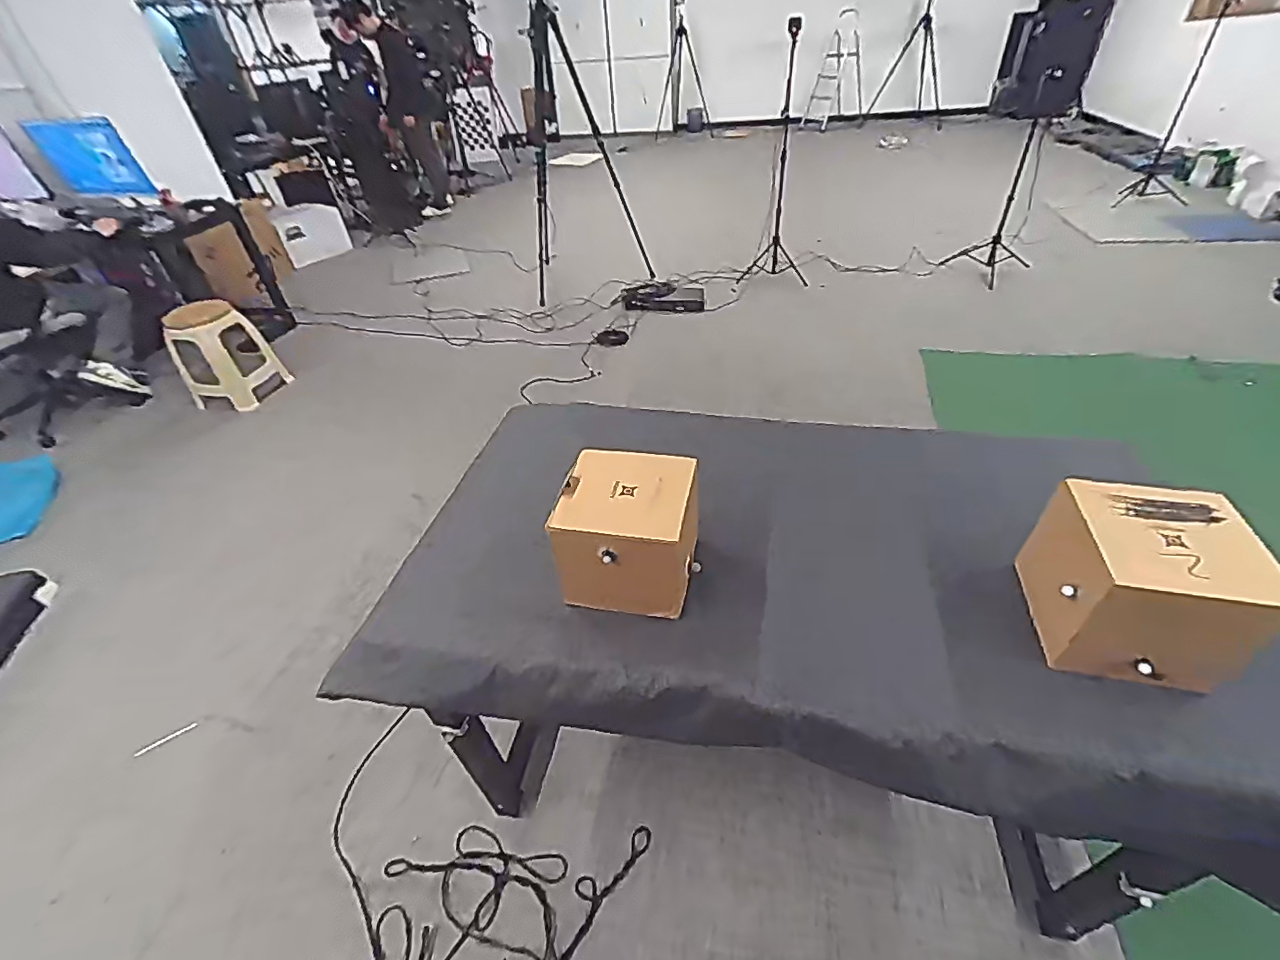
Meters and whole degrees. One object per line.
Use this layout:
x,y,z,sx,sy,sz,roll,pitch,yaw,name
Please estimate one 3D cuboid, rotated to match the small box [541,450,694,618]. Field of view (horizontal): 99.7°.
-0.021,0.078,0.776,0.179,0.176,0.168,6,42,11,small box
